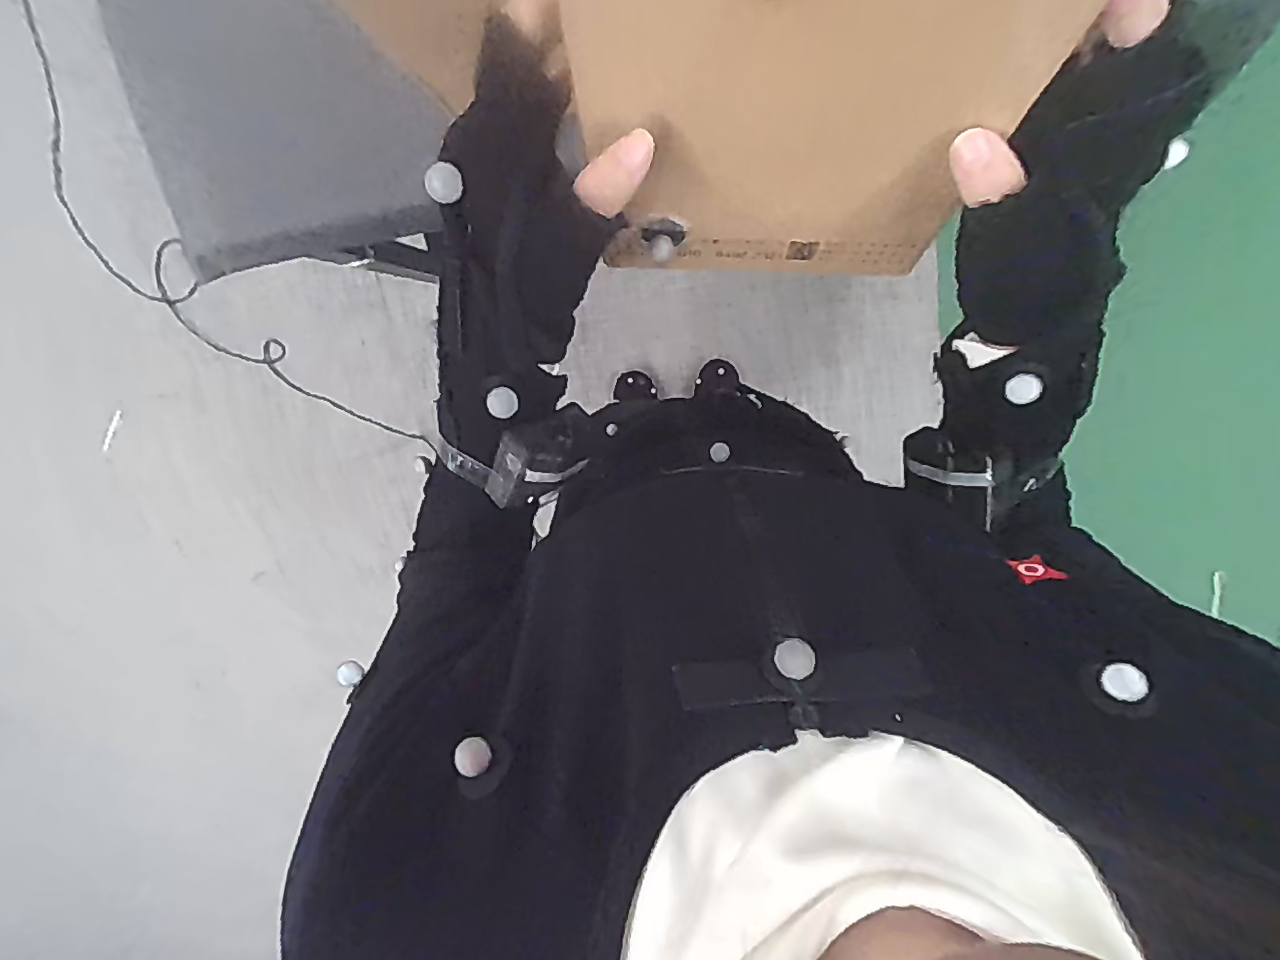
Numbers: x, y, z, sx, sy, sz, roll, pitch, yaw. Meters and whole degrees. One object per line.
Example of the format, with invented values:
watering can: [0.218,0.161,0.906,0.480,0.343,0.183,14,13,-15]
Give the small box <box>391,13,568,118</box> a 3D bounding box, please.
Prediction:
small box: [-0.127,-0.470,0.503,0.179,0.176,0.168,-7,103,6]

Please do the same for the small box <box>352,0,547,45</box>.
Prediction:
small box: [-0.137,-0.429,0.346,0.179,0.176,0.168,-8,101,7]

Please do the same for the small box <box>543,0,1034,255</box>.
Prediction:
small box: [0.057,-0.223,0.237,0.168,0.176,0.179,3,76,3]
